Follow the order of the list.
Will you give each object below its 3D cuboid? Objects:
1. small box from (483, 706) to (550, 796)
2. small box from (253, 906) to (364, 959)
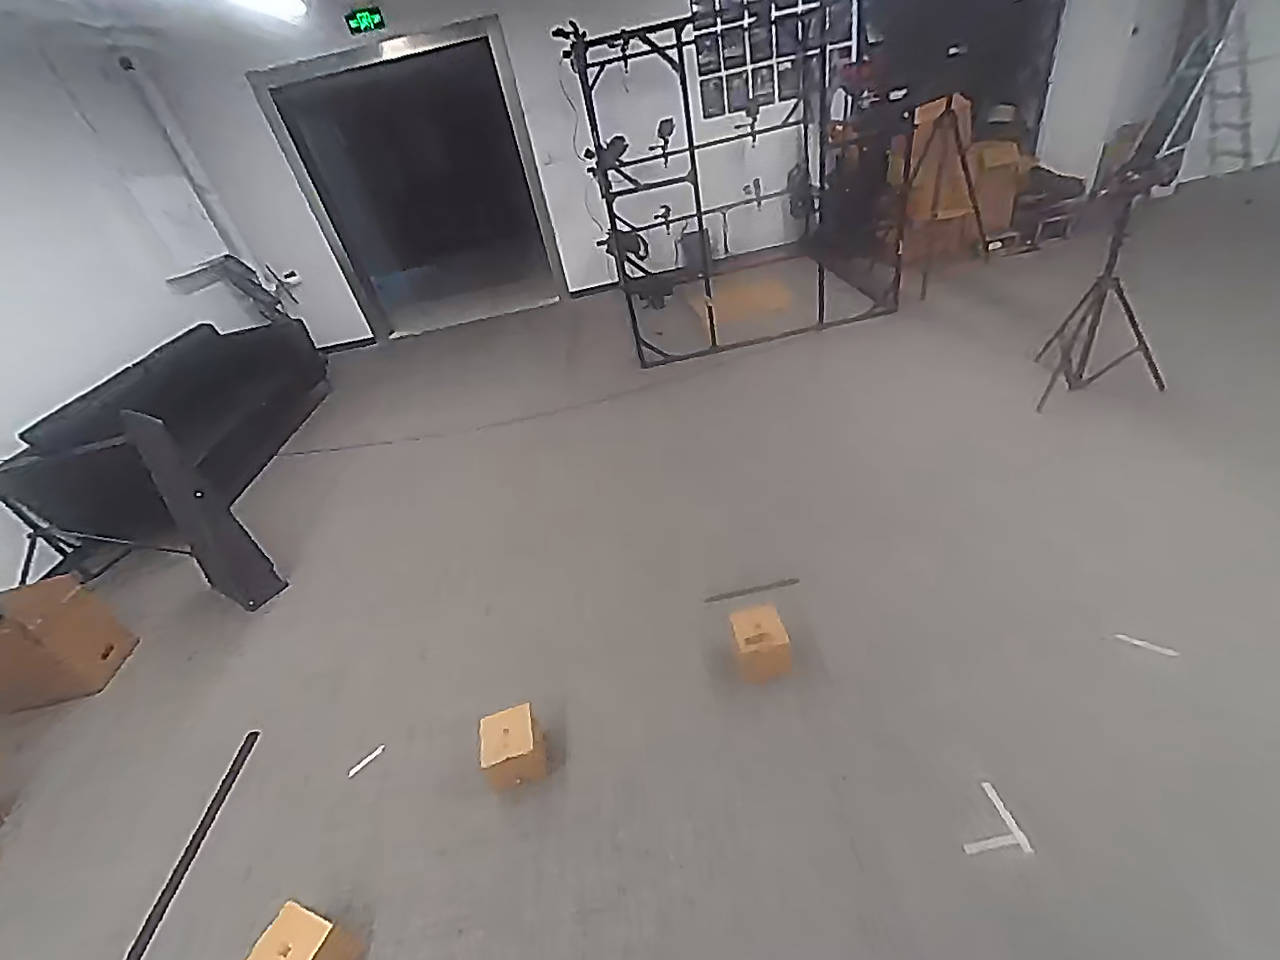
[{"bbox_3d":[-0.398,0.870,1.738,0.168,0.176,0.179,-17,35,-6],"label":"small box"},{"bbox_3d":[-0.848,1.233,1.370,0.179,0.176,0.168,3,37,23],"label":"small box"}]
